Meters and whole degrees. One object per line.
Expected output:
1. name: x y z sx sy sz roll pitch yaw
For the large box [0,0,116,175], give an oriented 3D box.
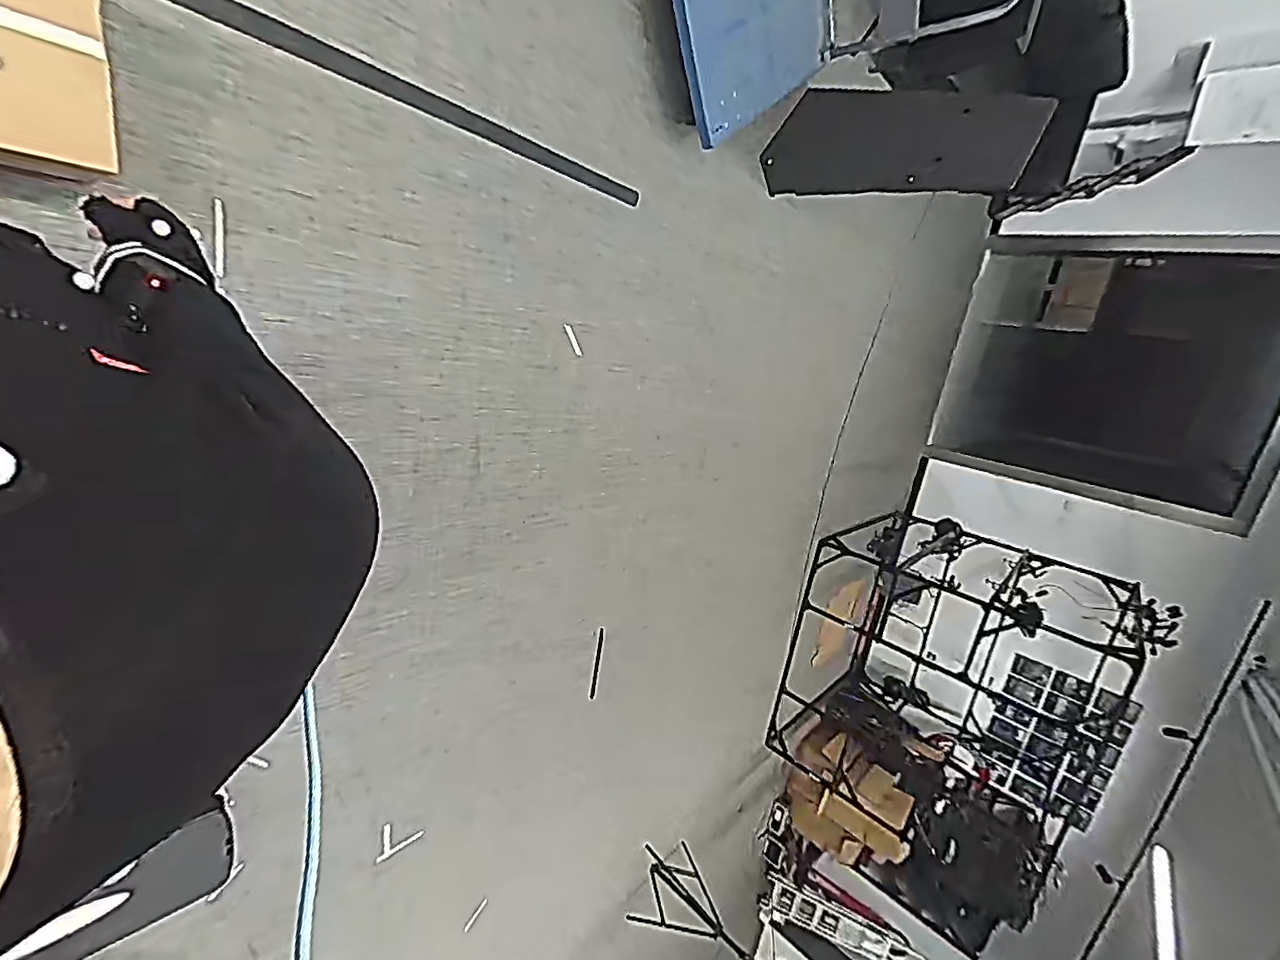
1. large box: -1.003 -0.629 0.705 0.408 0.320 0.320 -11 115 -49
